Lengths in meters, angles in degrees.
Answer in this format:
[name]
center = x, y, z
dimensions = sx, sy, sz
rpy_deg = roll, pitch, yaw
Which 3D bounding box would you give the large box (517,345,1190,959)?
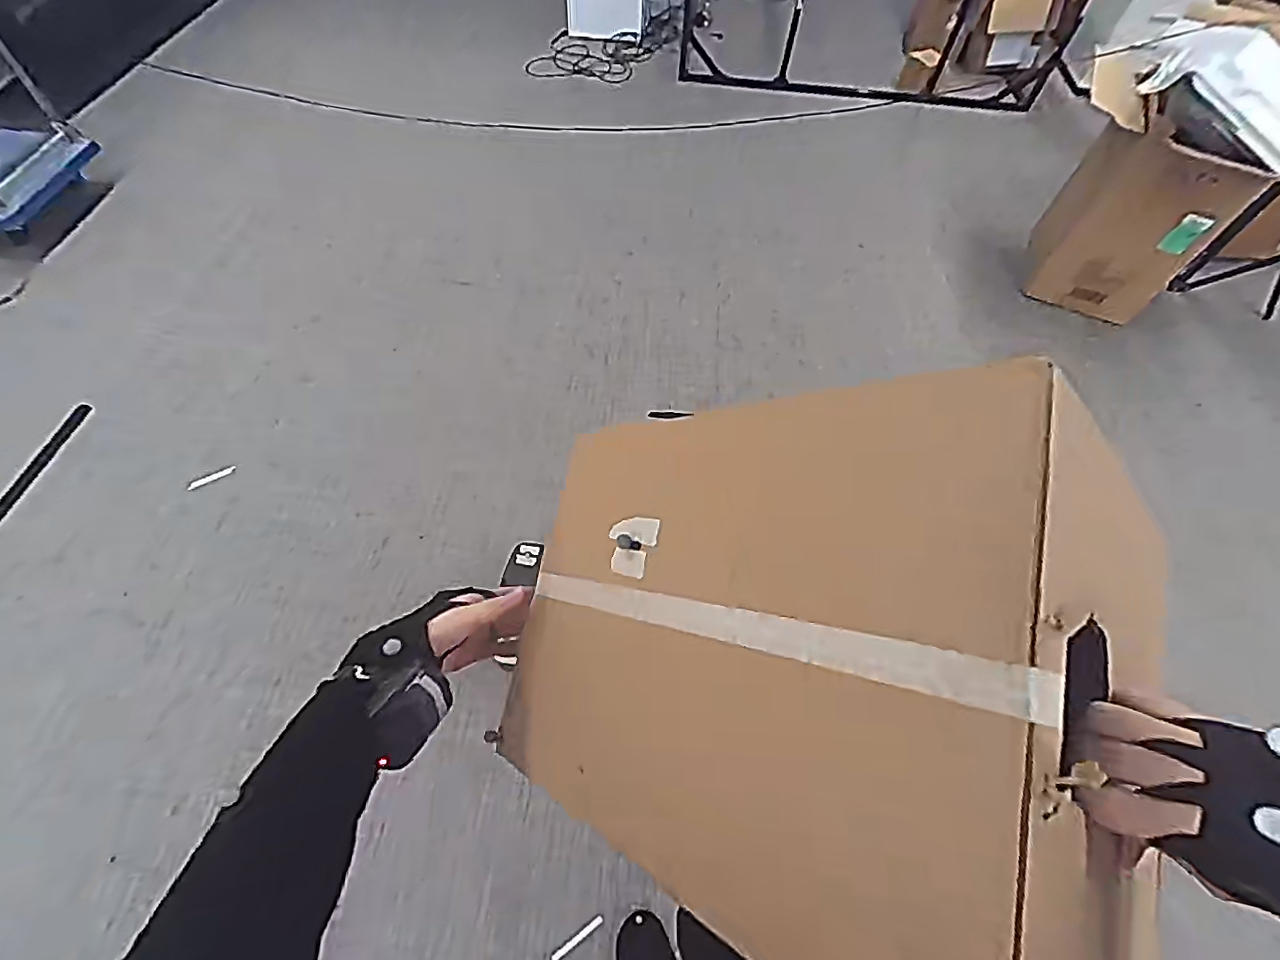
[large box]
center = 0.153, 0.135, 0.456
dimensions = 0.320, 0.408, 0.320
rpy_deg = 22, 74, -35

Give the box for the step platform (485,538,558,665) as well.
[step platform]
center = -0.027, 0.355, 1.351
dimensions = 0.684, 0.204, 0.286
rpy_deg = 10, 58, 5
